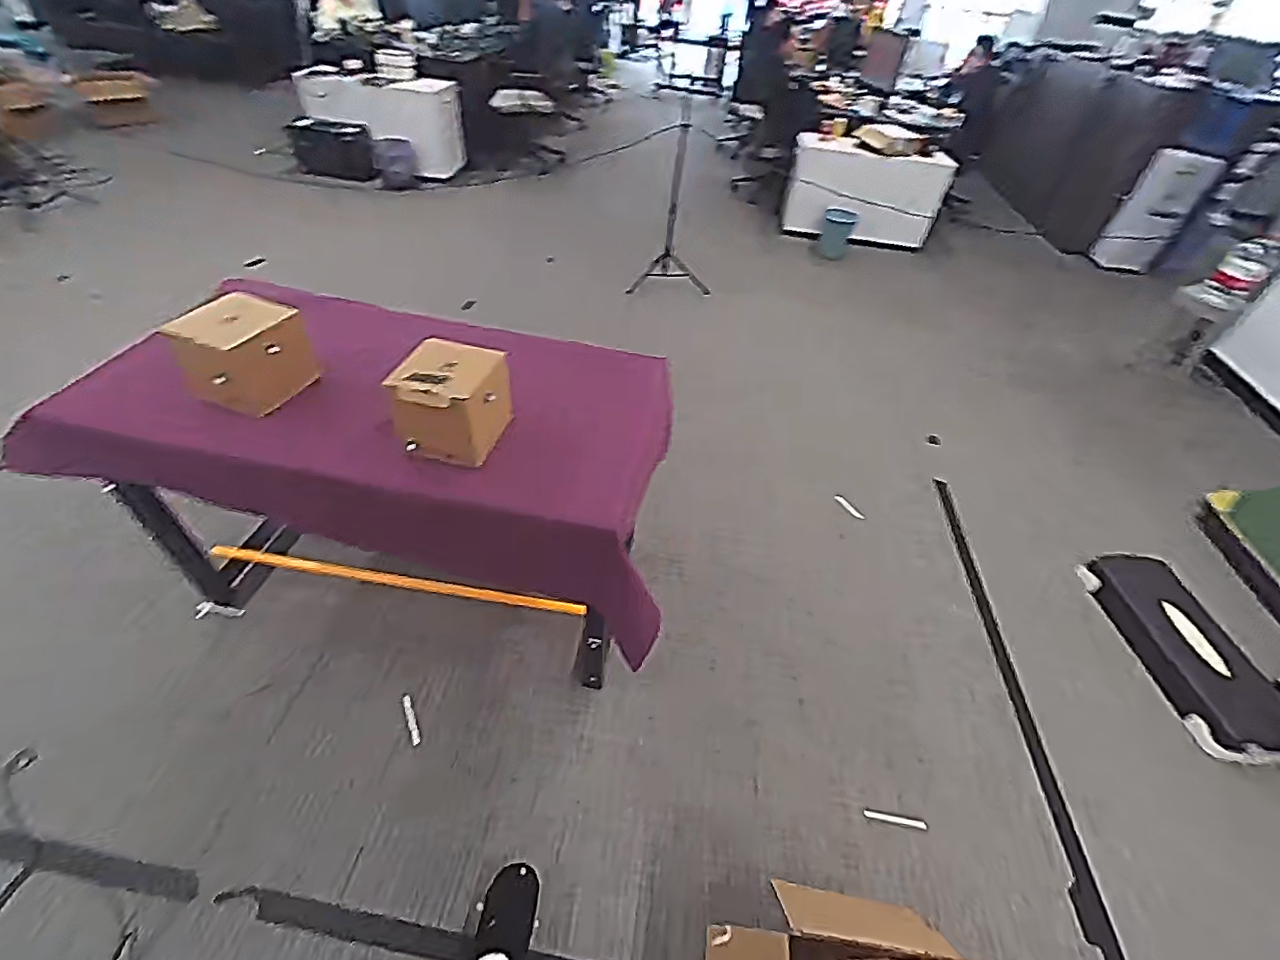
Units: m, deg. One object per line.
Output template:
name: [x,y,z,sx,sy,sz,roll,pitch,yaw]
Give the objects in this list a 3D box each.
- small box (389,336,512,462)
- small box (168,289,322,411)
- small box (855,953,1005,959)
small box: [-0.366,-0.161,1.087,0.168,0.176,0.179,13,44,5]
small box: [-0.815,-0.271,1.140,0.168,0.176,0.179,19,46,11]
small box: [0.373,0.692,0.650,0.168,0.176,0.179,2,49,1]
